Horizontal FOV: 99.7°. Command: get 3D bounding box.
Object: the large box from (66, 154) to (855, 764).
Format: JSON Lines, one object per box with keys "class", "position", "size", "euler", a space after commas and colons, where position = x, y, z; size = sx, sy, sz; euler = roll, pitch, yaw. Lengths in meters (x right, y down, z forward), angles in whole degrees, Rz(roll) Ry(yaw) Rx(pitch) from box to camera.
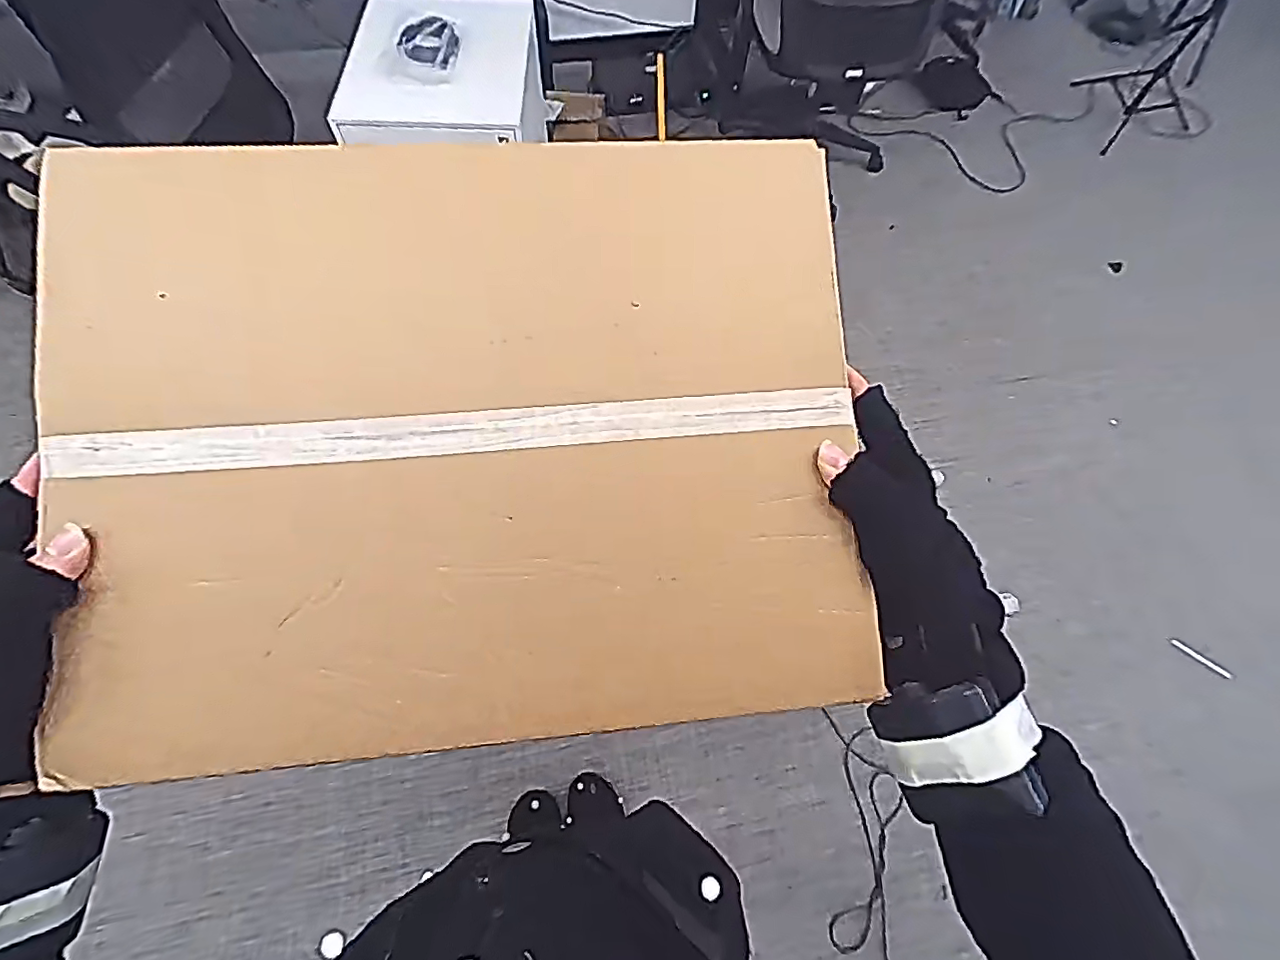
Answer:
{"class": "large box", "position": [-0.099, -0.016, 0.439], "size": [0.408, 0.320, 0.320], "euler": [-3, 85, -5]}
